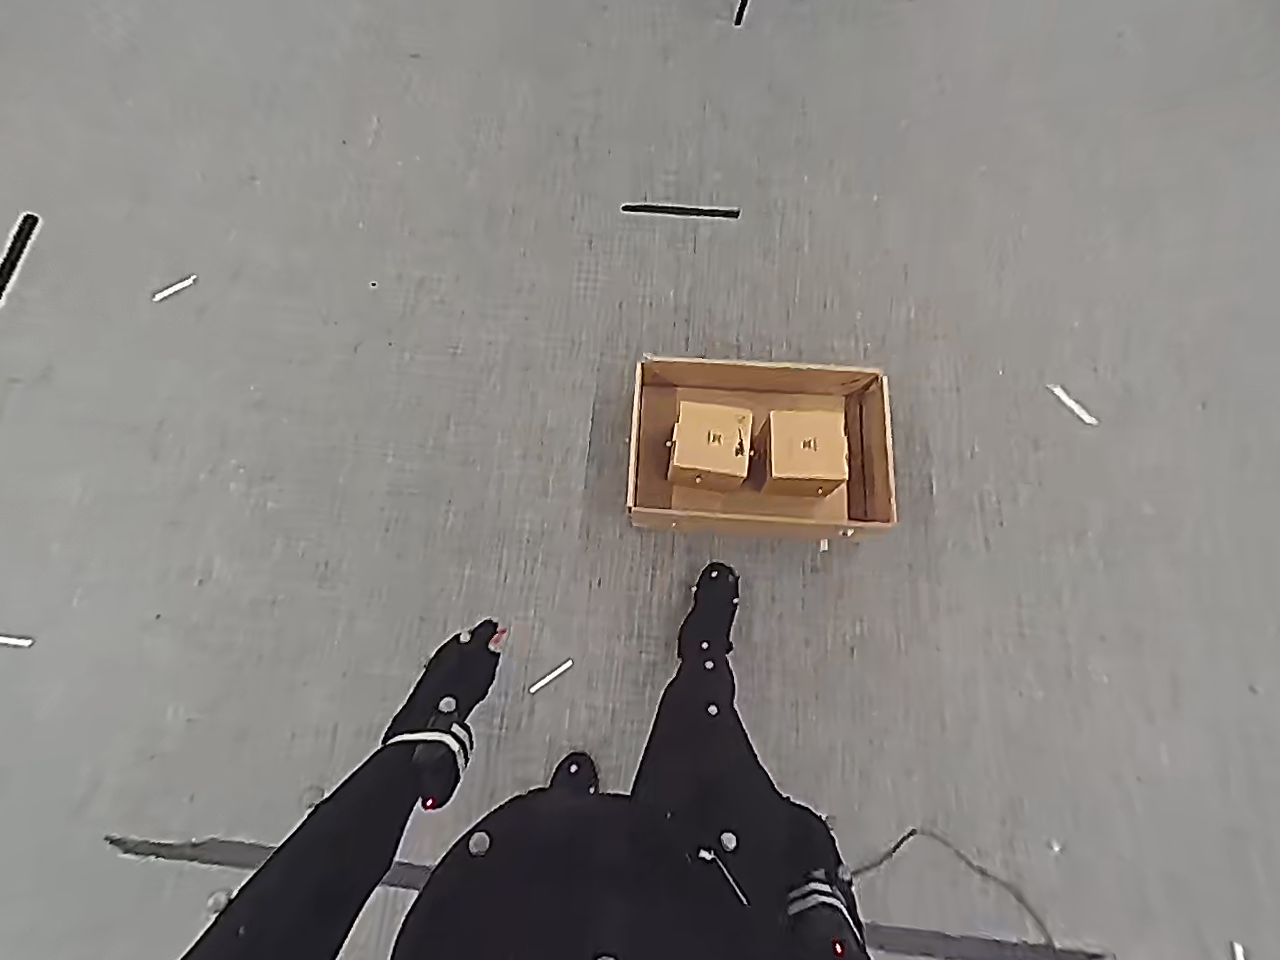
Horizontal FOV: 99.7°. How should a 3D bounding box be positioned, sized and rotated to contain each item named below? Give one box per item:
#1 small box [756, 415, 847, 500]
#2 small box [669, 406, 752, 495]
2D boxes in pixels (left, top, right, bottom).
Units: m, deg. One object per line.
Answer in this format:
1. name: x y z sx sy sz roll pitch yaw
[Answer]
1. small box: 0.391 -0.051 1.333 0.179 0.176 0.168 2 74 2
2. small box: 0.167 -0.067 1.335 0.179 0.176 0.168 8 75 2
